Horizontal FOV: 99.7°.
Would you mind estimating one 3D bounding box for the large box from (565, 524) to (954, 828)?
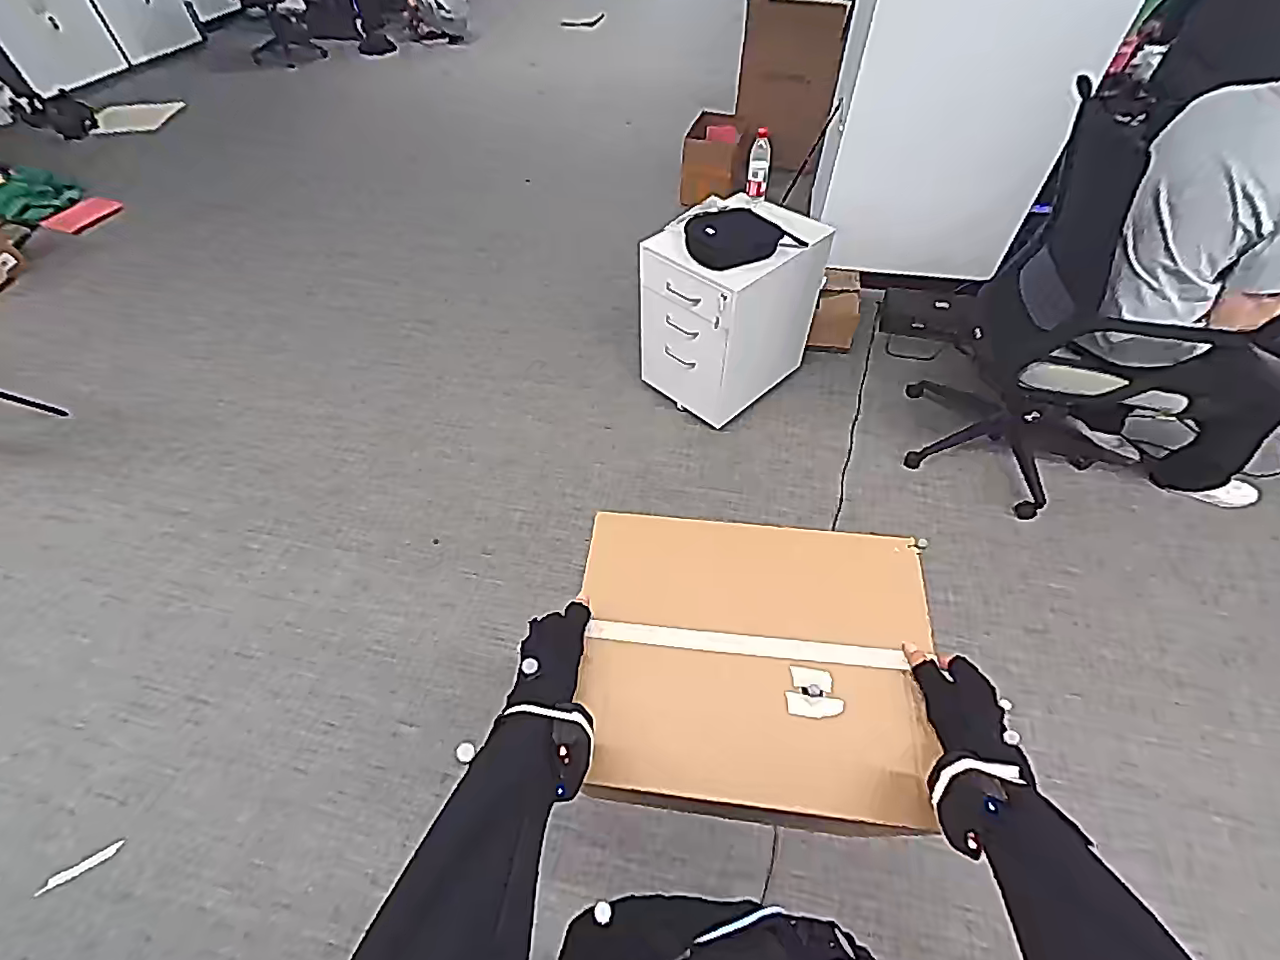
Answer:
[{"bbox_3d":[0.135,0.280,0.754,0.408,0.320,0.320,5,58,5],"label":"large box"}]
